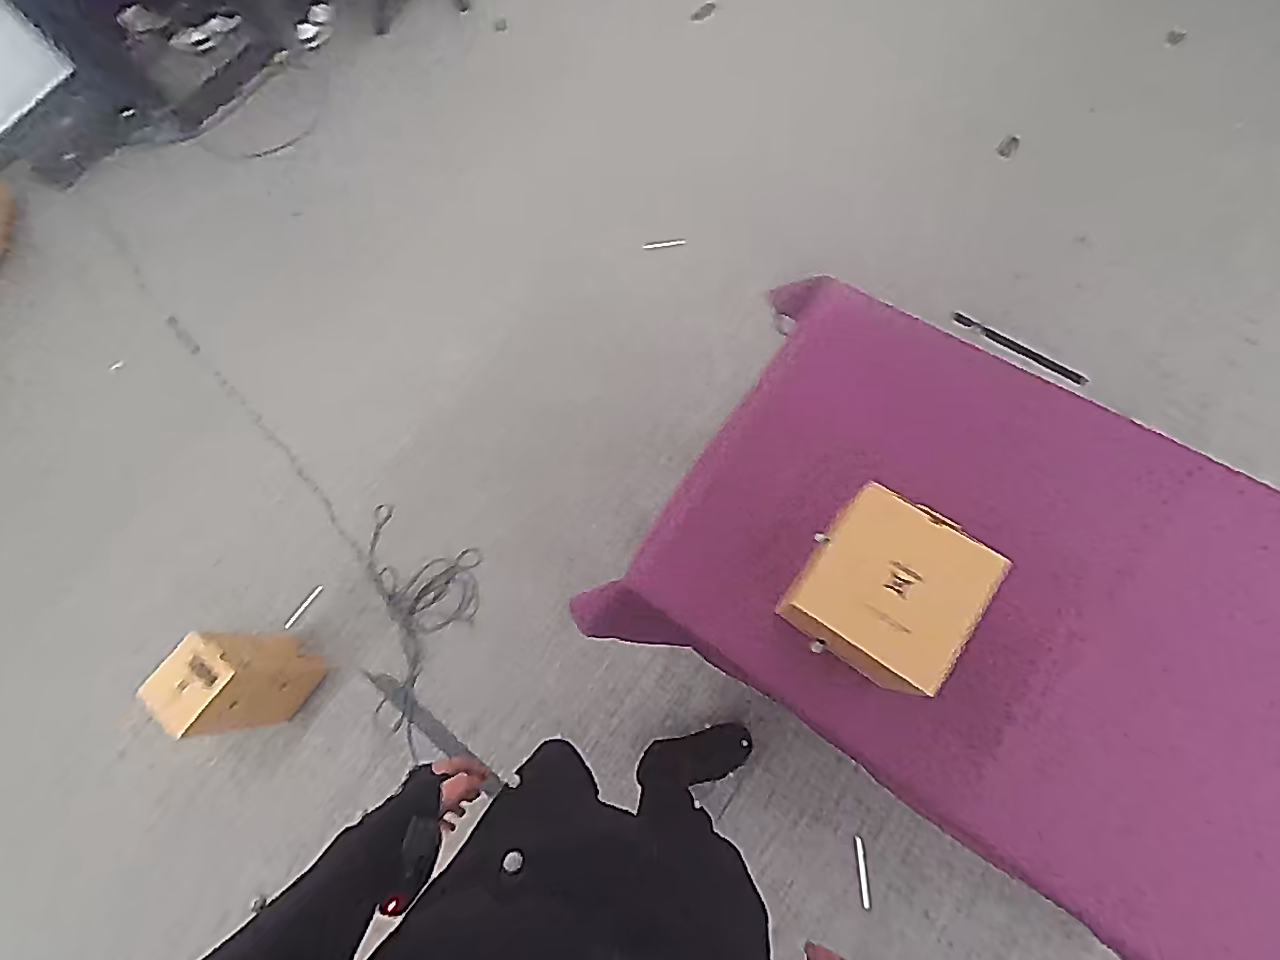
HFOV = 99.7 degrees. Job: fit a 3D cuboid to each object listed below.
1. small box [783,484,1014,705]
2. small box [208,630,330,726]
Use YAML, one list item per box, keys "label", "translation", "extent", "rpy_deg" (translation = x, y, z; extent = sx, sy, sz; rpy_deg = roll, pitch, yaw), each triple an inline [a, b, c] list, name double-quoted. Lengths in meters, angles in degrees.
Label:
- label: "small box"
  translation: [0.290, 0.138, 0.650]
  extent: [0.168, 0.176, 0.179]
  rpy_deg: [35, 80, 16]
- label: "small box"
  translation: [-0.991, 0.530, 1.461]
  extent: [0.168, 0.176, 0.179]
  rpy_deg: [33, 79, 16]
